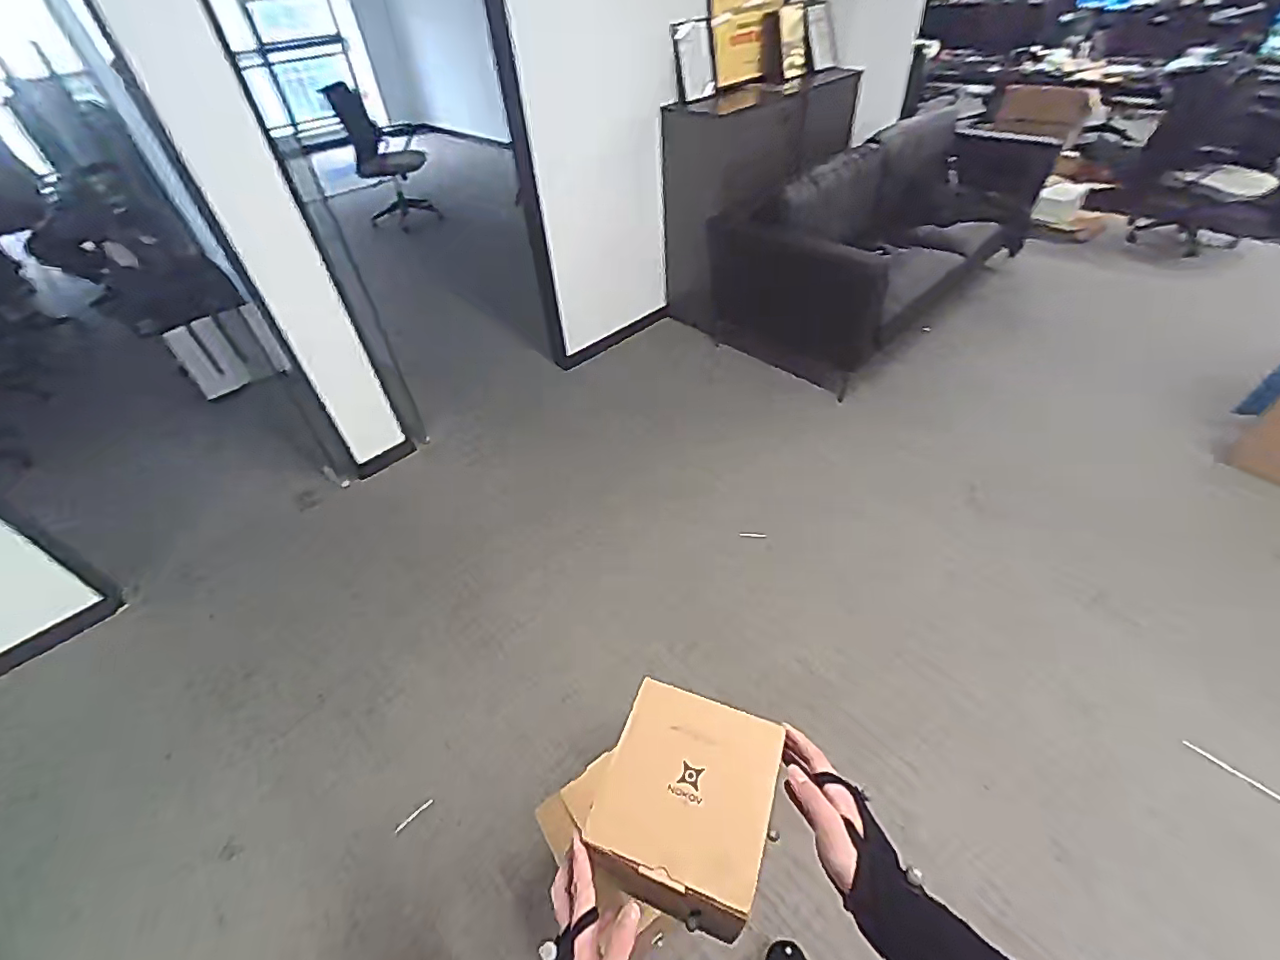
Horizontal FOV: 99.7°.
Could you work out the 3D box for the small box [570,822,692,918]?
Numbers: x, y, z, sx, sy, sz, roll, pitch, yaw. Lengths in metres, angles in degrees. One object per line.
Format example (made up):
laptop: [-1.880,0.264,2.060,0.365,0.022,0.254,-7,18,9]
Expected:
small box: [-0.015,0.714,1.059,0.168,0.176,0.179,-29,50,-25]

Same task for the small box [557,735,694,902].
small box: [-0.020,0.596,0.947,0.168,0.176,0.179,-31,49,-24]
